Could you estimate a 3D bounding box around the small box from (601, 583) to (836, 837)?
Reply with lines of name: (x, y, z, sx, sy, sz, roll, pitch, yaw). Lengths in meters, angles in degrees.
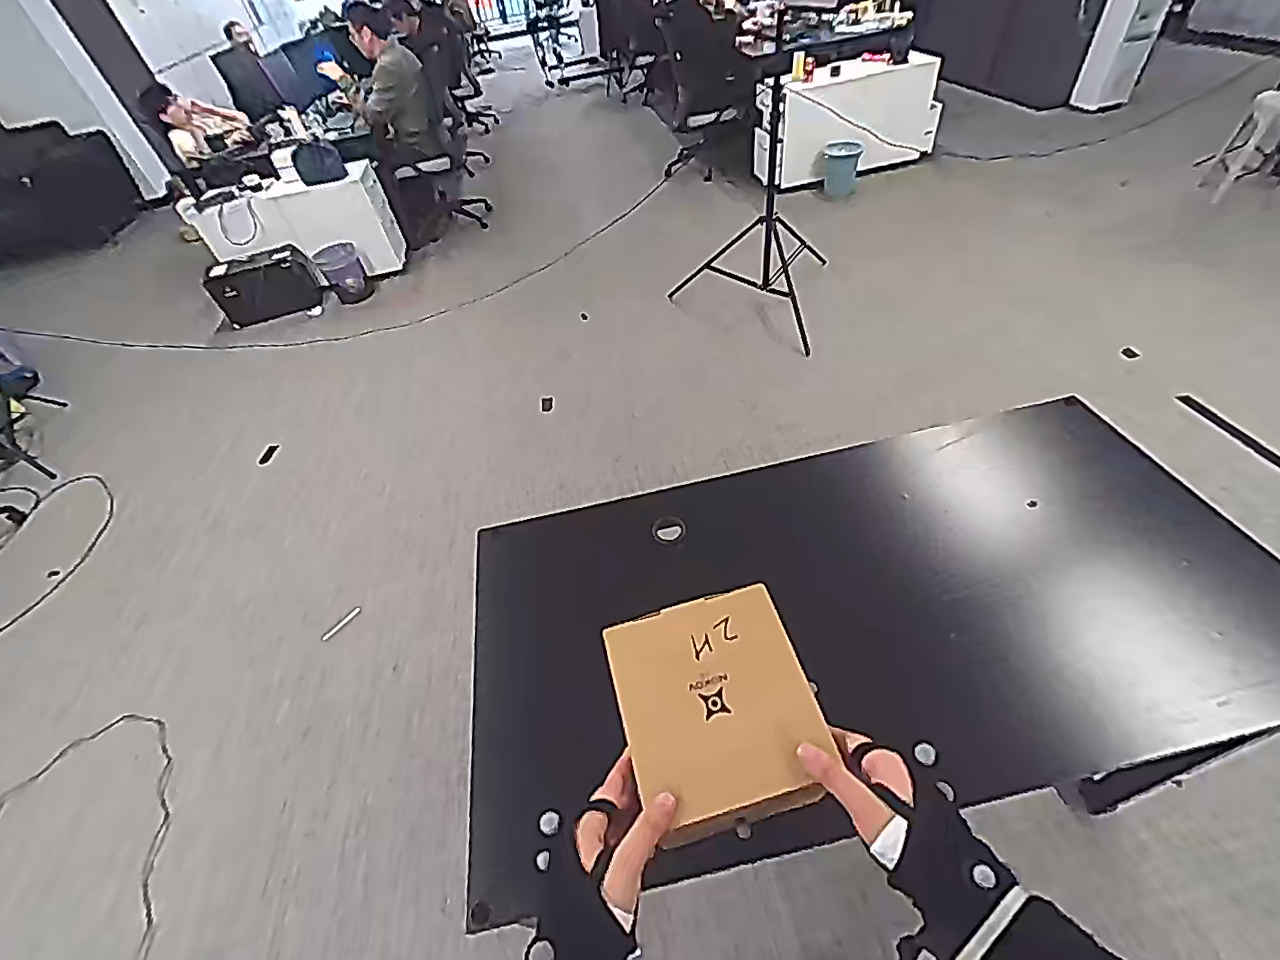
small box: (0.071, 0.235, 0.538, 0.168, 0.176, 0.179, -16, 52, -3)
